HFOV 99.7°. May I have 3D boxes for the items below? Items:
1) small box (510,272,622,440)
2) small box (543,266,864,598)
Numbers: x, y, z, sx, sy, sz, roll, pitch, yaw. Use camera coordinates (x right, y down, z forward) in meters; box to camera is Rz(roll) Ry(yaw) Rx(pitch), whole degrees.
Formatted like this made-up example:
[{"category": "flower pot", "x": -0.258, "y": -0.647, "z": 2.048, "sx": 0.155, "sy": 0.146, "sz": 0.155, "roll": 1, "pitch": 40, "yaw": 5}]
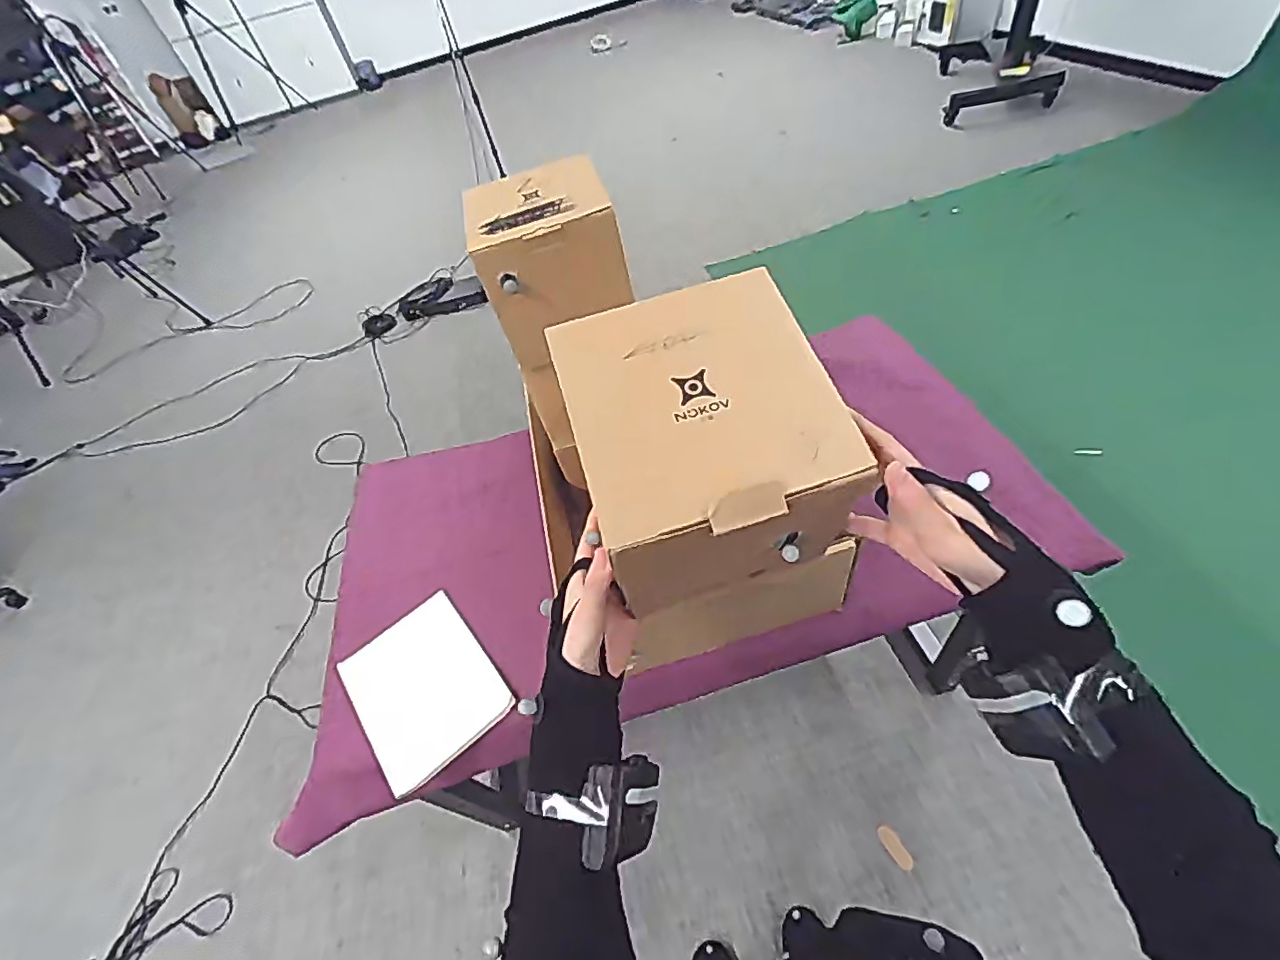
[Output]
[{"category": "small box", "x": -0.086, "y": -0.180, "z": 0.828, "sx": 0.168, "sy": 0.176, "sz": 0.179, "roll": -16, "pitch": 50, "yaw": 0}, {"category": "small box", "x": 0.039, "y": -0.022, "z": 0.414, "sx": 0.168, "sy": 0.176, "sz": 0.179, "roll": -16, "pitch": 62, "yaw": -3}]
